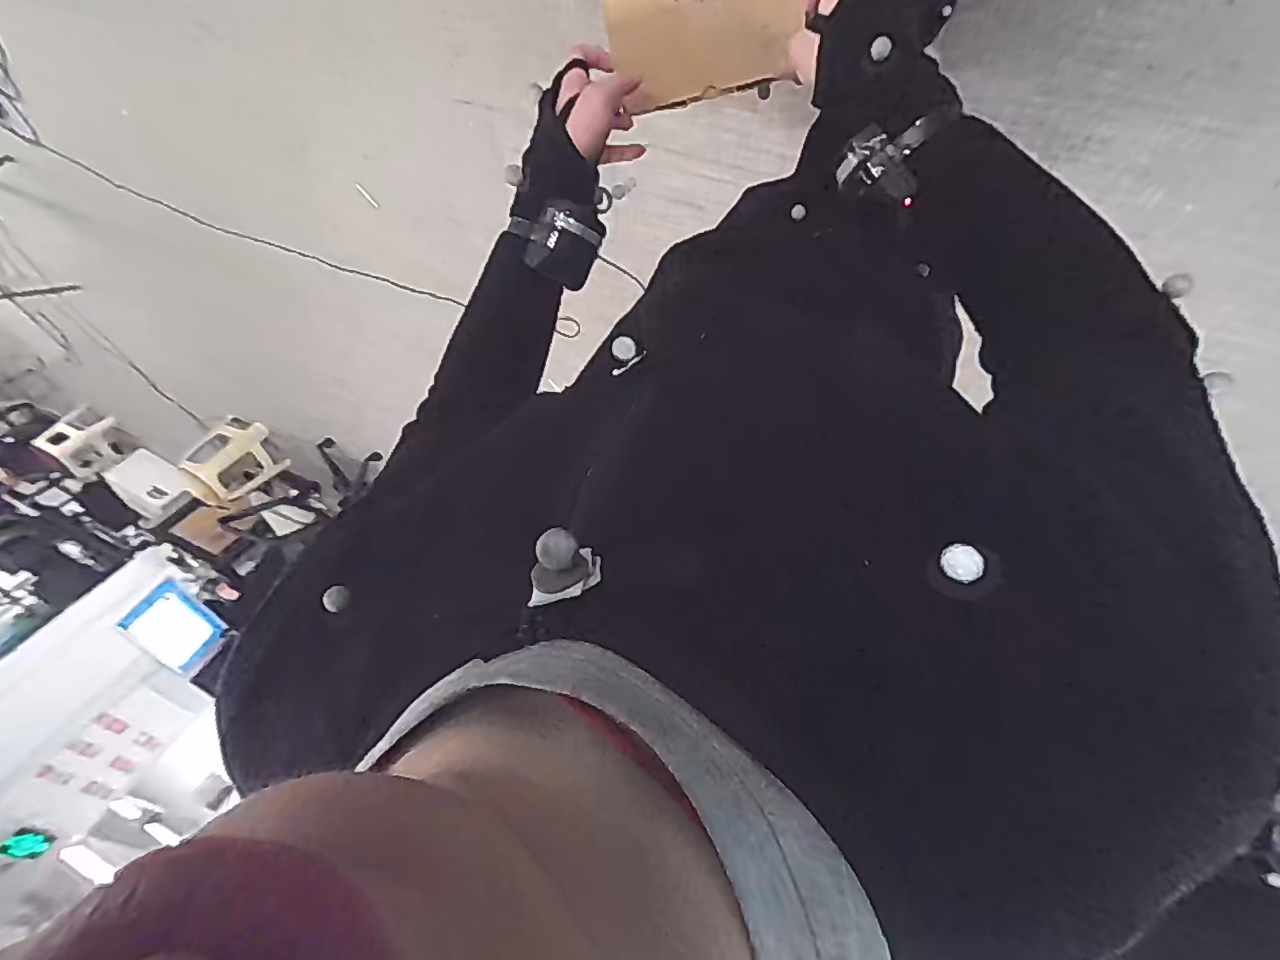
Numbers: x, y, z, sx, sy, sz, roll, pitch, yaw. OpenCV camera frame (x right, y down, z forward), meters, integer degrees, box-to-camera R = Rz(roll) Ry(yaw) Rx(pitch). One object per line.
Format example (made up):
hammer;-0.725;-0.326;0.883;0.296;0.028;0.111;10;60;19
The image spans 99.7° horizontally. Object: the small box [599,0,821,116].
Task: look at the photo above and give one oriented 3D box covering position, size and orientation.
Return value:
small box;0.065;-0.451;0.474;0.168;0.176;0.179;-1;127;23
